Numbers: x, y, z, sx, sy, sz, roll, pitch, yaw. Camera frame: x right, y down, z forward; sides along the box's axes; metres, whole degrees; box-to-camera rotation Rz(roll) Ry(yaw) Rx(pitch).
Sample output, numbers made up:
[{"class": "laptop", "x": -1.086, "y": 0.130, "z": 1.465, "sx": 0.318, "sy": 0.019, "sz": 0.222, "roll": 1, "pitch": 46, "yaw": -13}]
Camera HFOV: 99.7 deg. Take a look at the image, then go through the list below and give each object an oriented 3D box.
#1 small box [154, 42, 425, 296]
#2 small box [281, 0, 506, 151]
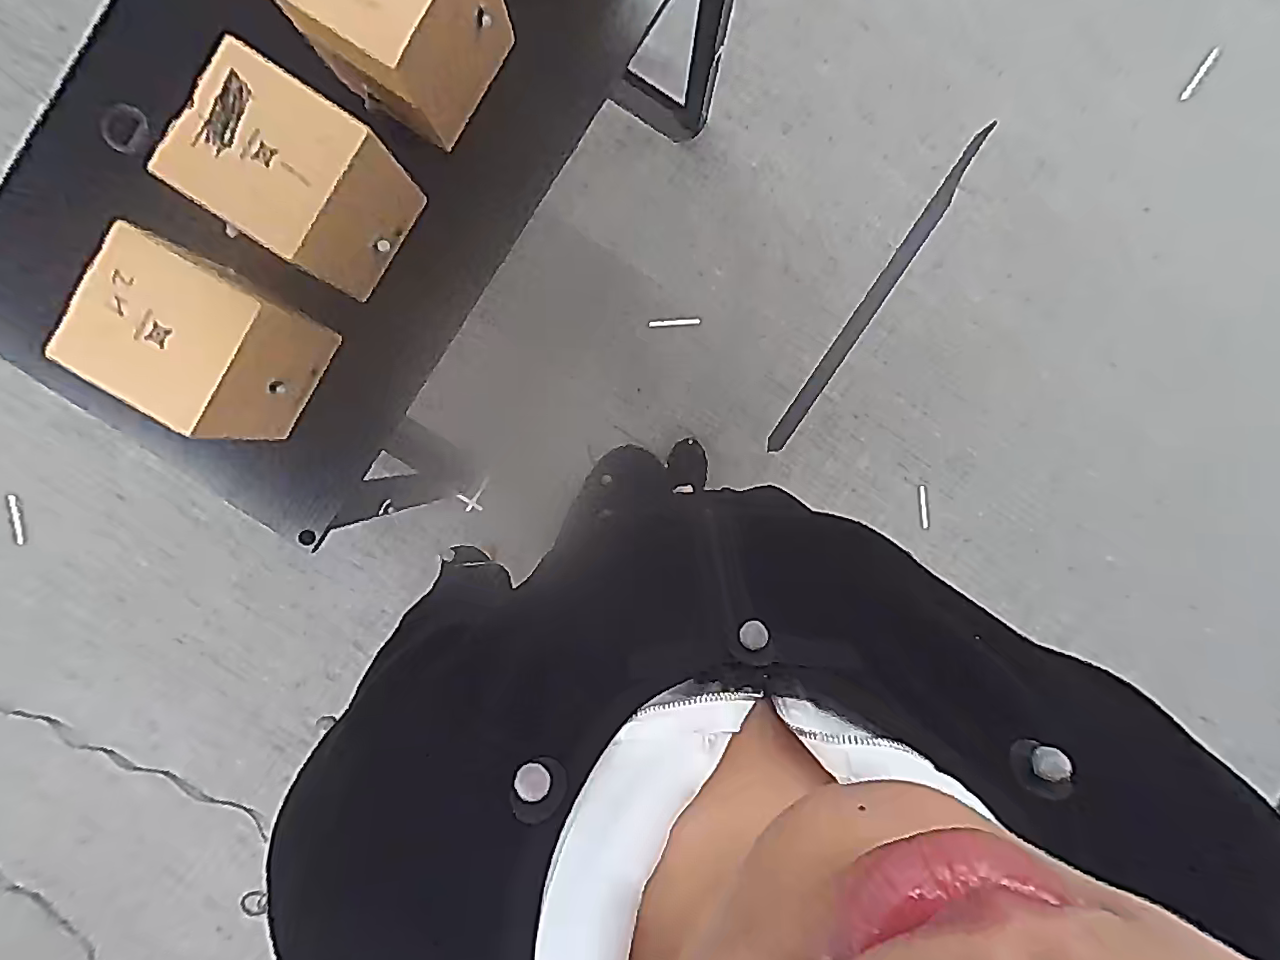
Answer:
[{"class": "small box", "x": -0.399, "y": -0.349, "z": 0.650, "sx": 0.179, "sy": 0.176, "sz": 0.168, "roll": 33, "pitch": 93, "yaw": -3}, {"class": "small box", "x": -0.278, "y": -0.547, "z": 0.641, "sx": 0.168, "sy": 0.176, "sz": 0.179, "roll": 33, "pitch": 93, "yaw": -2}]
